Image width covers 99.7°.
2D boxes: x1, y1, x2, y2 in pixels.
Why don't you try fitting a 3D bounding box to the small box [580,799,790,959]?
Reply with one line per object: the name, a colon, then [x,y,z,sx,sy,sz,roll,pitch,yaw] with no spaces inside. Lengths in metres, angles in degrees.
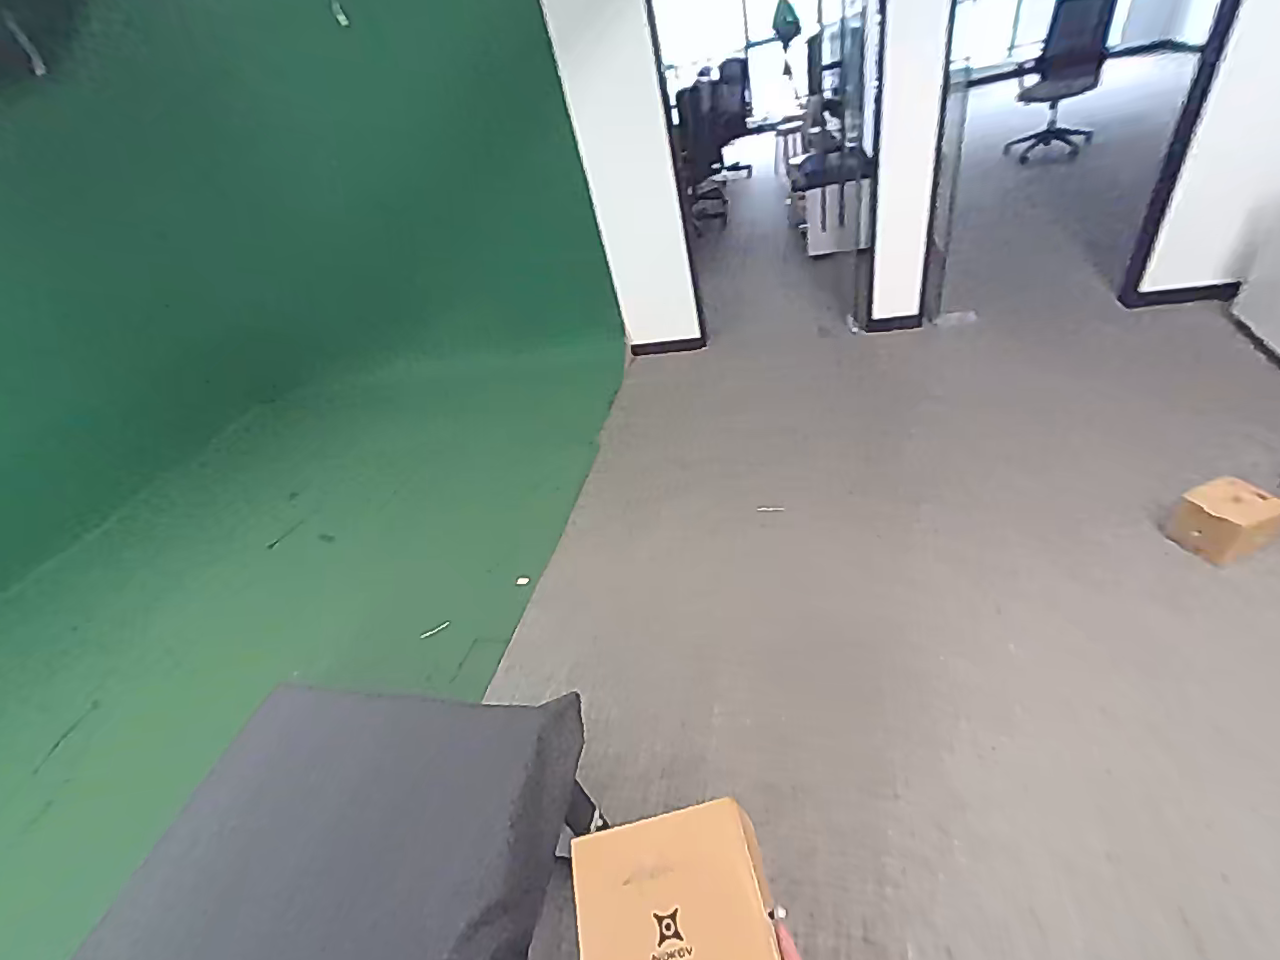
small box: [0.051,0.440,0.529,0.168,0.176,0.179,-16,48,4]
